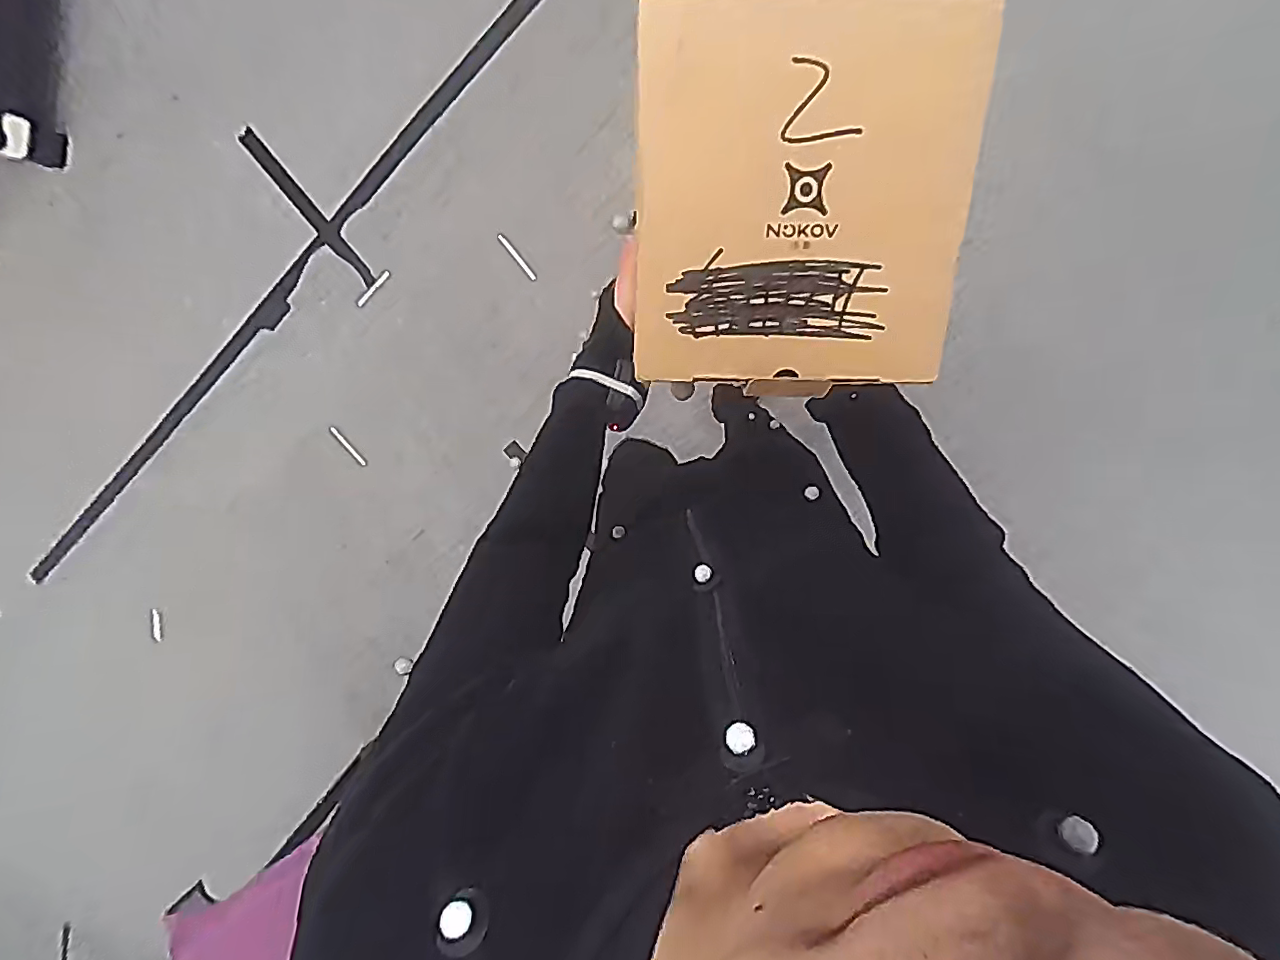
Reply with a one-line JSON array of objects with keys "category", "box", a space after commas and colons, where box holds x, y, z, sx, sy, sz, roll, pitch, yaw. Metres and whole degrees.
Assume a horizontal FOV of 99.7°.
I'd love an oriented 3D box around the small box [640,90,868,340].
[{"category": "small box", "box": [0.084, -0.223, 0.492, 0.168, 0.176, 0.179, -1, 110, 0]}]
